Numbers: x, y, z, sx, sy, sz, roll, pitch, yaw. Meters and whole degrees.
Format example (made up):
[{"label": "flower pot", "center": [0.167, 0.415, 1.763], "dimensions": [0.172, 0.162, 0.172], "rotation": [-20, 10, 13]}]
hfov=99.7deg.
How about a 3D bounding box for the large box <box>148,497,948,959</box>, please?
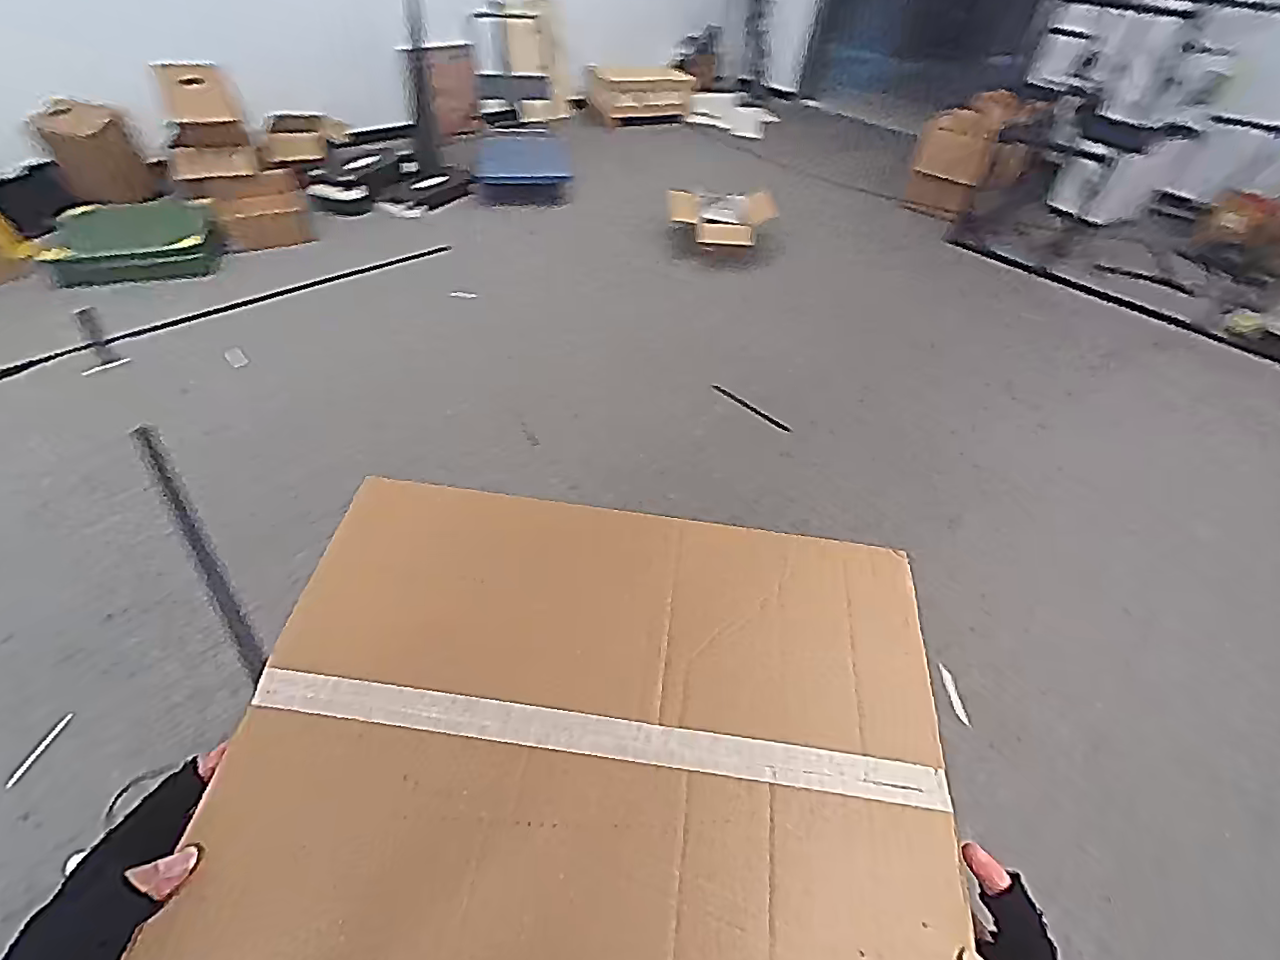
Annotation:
[{"label": "large box", "center": [-0.038, 0.241, 0.450], "dimensions": [0.408, 0.320, 0.320], "rotation": [7, 56, 2]}]
